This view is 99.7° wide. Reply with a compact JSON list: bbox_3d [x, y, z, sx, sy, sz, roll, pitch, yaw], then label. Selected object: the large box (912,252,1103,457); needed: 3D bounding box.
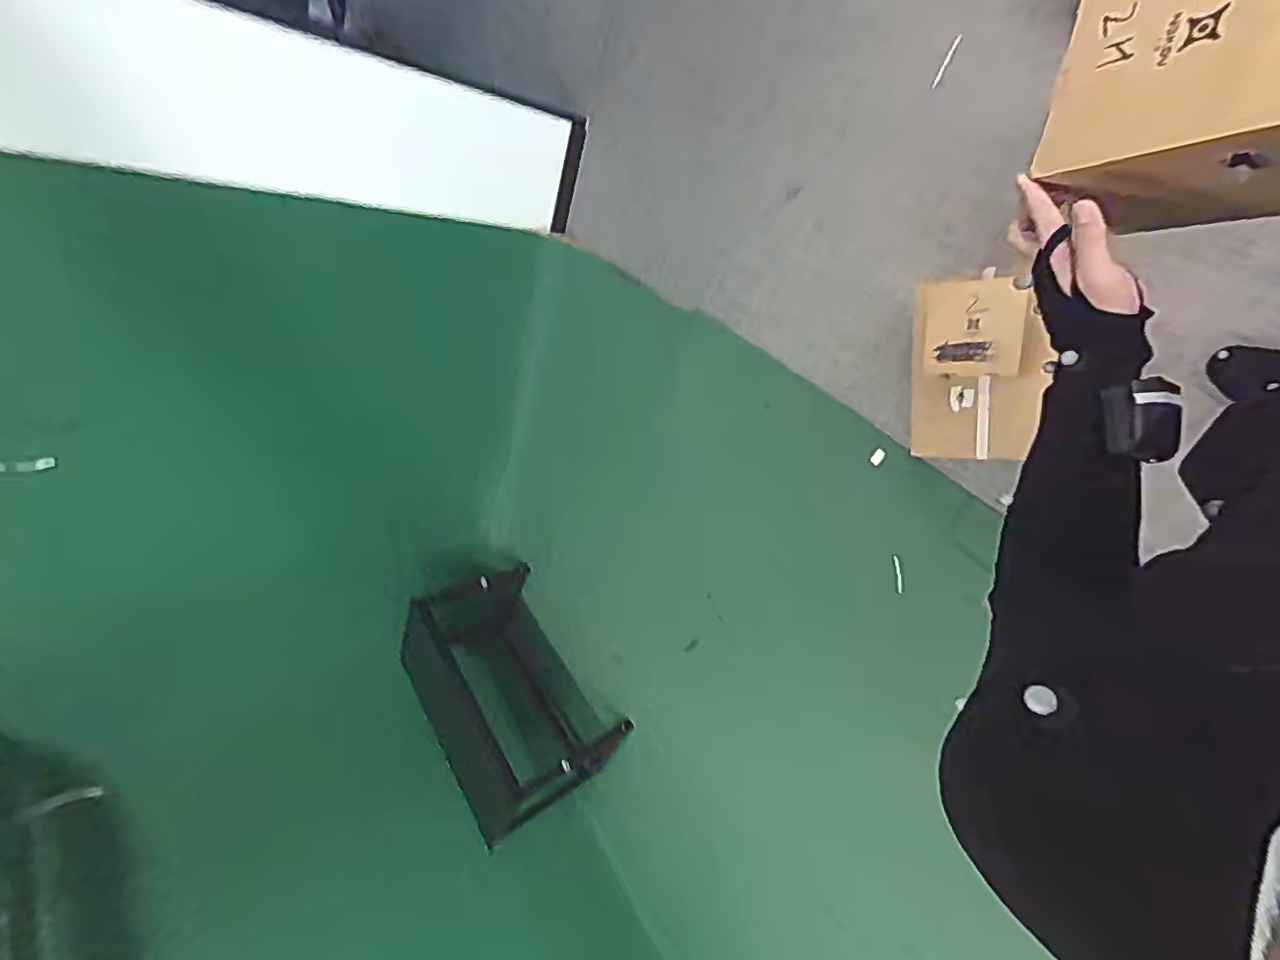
[{"bbox_3d":[0.862,-0.280,1.270,0.320,0.320,0.408,6,106,48],"label":"large box"}]
